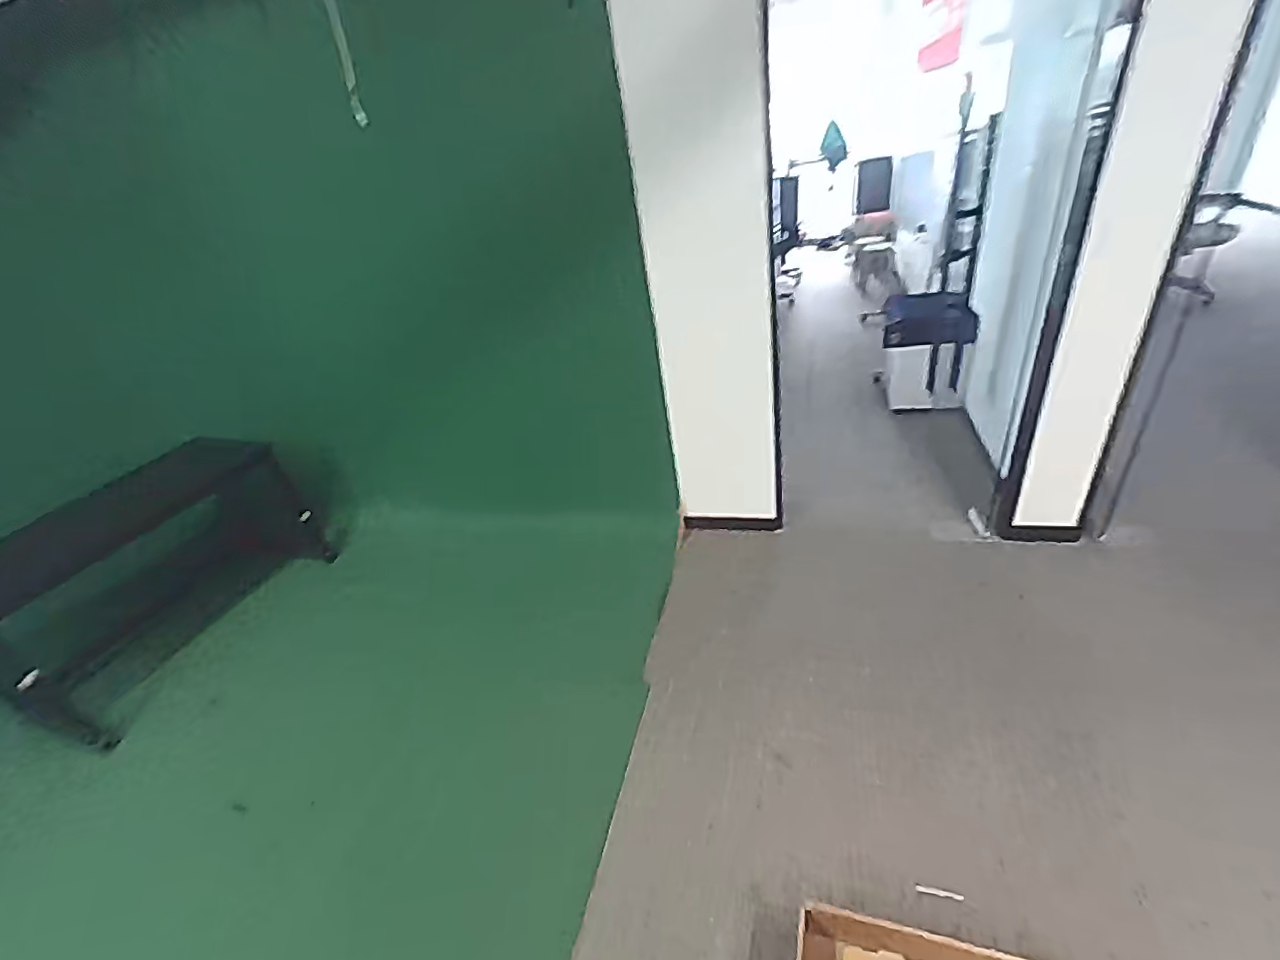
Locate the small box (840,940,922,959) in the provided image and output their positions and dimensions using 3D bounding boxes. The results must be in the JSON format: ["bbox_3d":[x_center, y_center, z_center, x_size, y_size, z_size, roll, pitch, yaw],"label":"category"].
[{"bbox_3d":[0.443,0.978,0.963,0.168,0.176,0.179,0,33,17],"label":"small box"}]
